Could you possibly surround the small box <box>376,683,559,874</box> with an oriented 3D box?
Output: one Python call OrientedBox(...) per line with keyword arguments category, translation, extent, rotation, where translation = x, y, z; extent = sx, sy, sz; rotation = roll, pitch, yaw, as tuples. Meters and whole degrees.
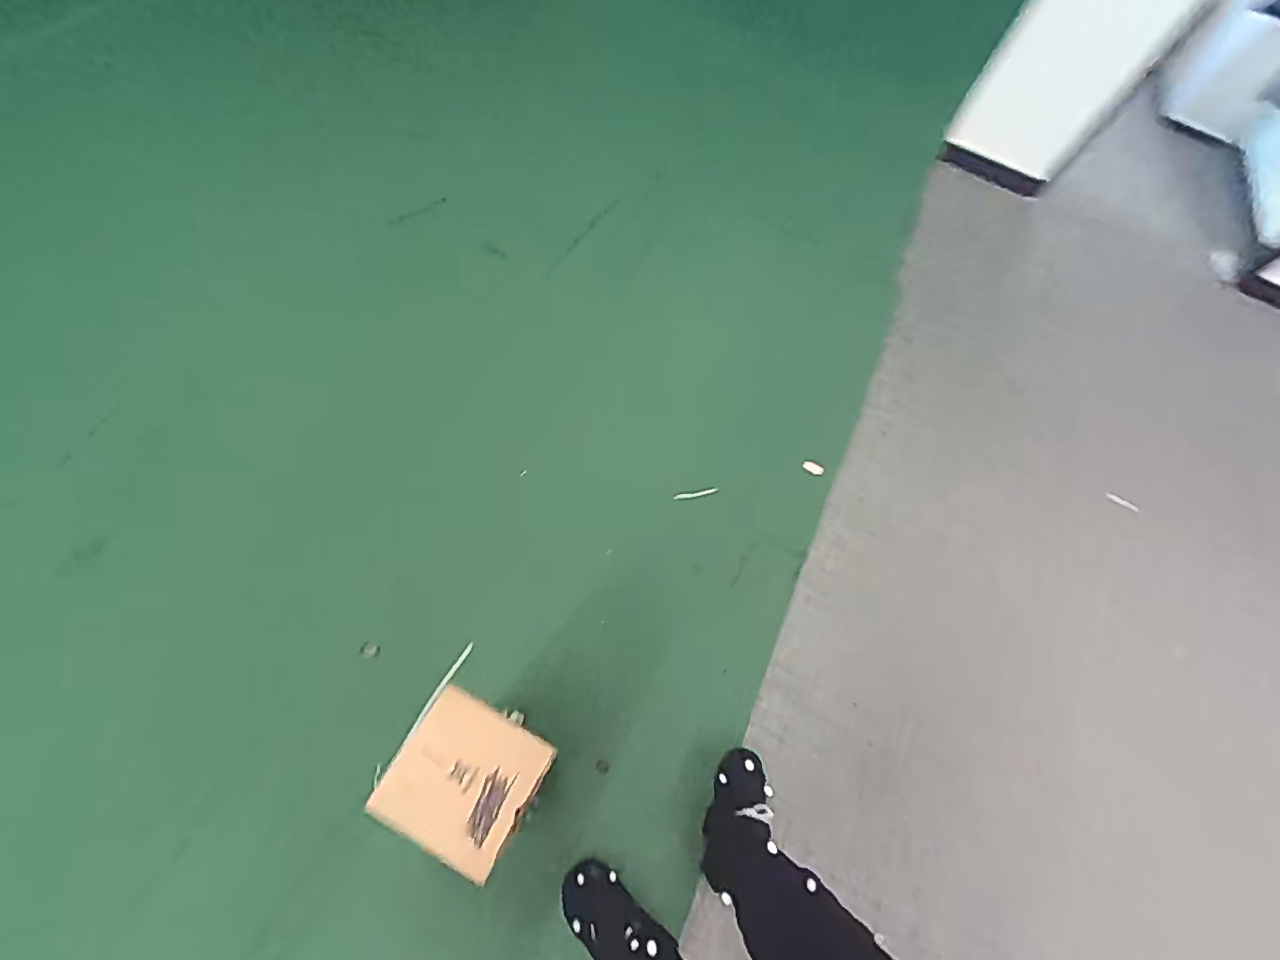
OrientedBox(category="small box", translation=(-0.230, 0.414, 0.774), extent=(0.179, 0.176, 0.168), rotation=(28, 63, 6))
